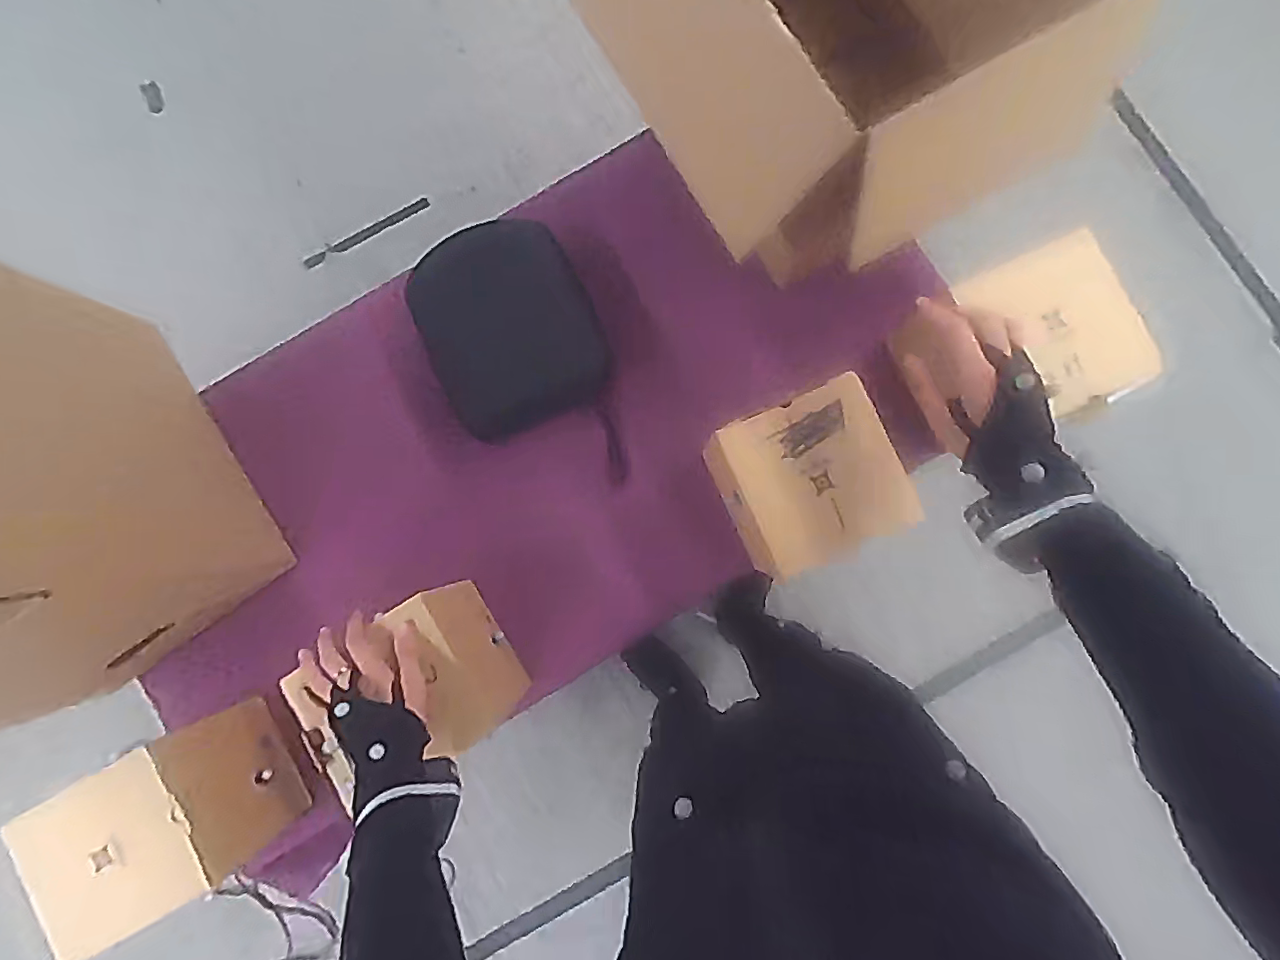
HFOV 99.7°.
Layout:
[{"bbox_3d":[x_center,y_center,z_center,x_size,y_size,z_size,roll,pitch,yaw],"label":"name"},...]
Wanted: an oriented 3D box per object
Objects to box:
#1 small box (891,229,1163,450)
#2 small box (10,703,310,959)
[{"bbox_3d":[0.437,-0.152,0.648,0.168,0.176,0.179,-24,84,1],"label":"small box"},{"bbox_3d":[-0.545,0.399,0.639,0.179,0.176,0.168,-30,85,-2],"label":"small box"}]
